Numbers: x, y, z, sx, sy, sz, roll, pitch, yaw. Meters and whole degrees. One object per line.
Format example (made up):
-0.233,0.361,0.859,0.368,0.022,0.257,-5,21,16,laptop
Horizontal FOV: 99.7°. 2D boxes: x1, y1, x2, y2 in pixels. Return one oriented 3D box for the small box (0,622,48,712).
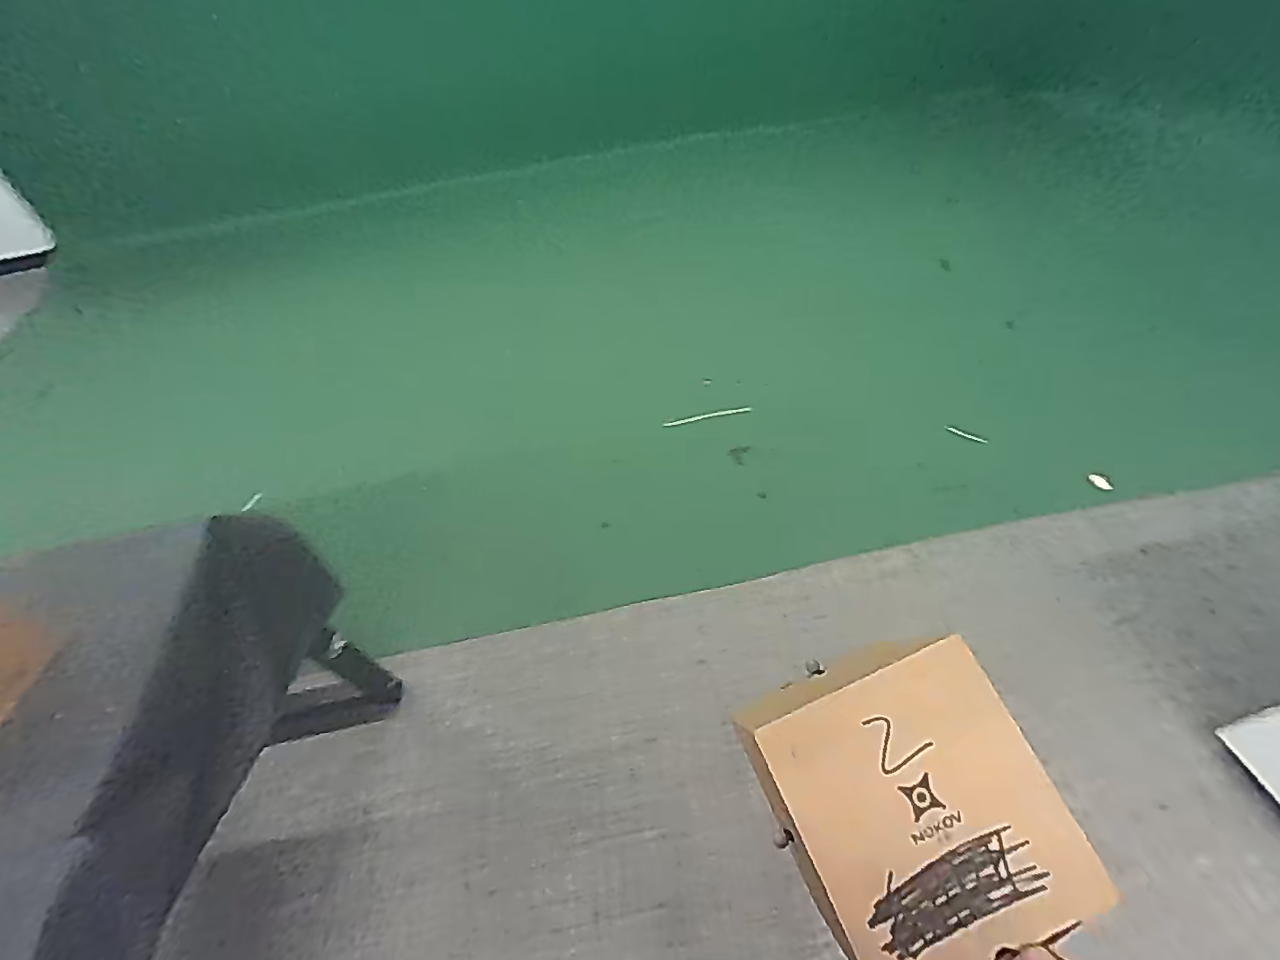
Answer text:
-0.891,0.233,0.629,0.179,0.176,0.168,1,51,7,small box
